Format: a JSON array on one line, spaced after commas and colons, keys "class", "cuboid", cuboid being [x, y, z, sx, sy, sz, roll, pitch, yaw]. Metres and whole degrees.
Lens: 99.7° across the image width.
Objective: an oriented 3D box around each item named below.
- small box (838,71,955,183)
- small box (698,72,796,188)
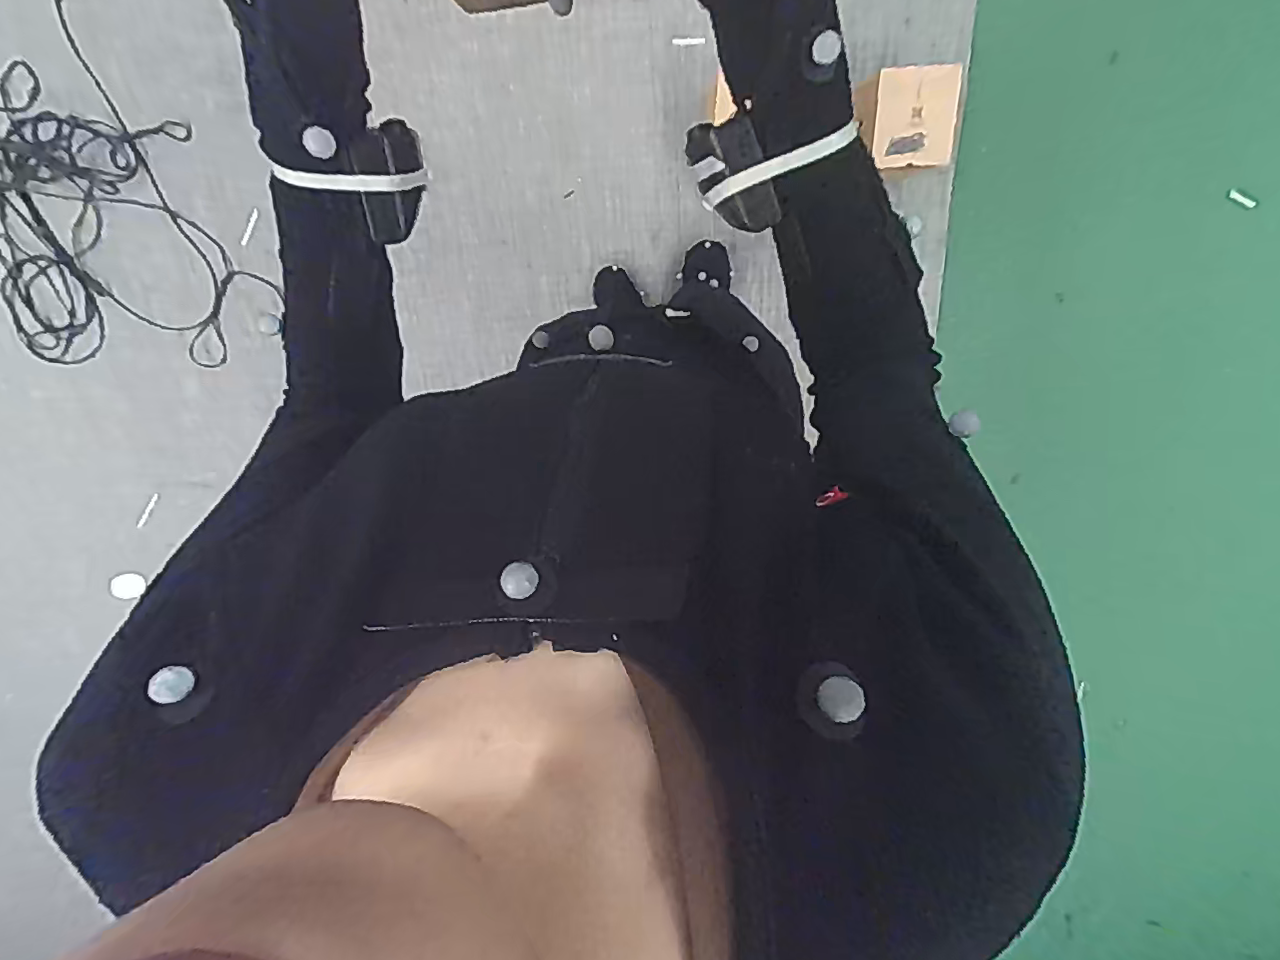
[{"class": "small box", "cuboid": [0.539, -0.747, 1.163, 0.168, 0.176, 0.179, -3, 111, 0]}, {"class": "small box", "cuboid": [0.220, -0.740, 1.158, 0.168, 0.176, 0.179, 1, 112, -2]}]
